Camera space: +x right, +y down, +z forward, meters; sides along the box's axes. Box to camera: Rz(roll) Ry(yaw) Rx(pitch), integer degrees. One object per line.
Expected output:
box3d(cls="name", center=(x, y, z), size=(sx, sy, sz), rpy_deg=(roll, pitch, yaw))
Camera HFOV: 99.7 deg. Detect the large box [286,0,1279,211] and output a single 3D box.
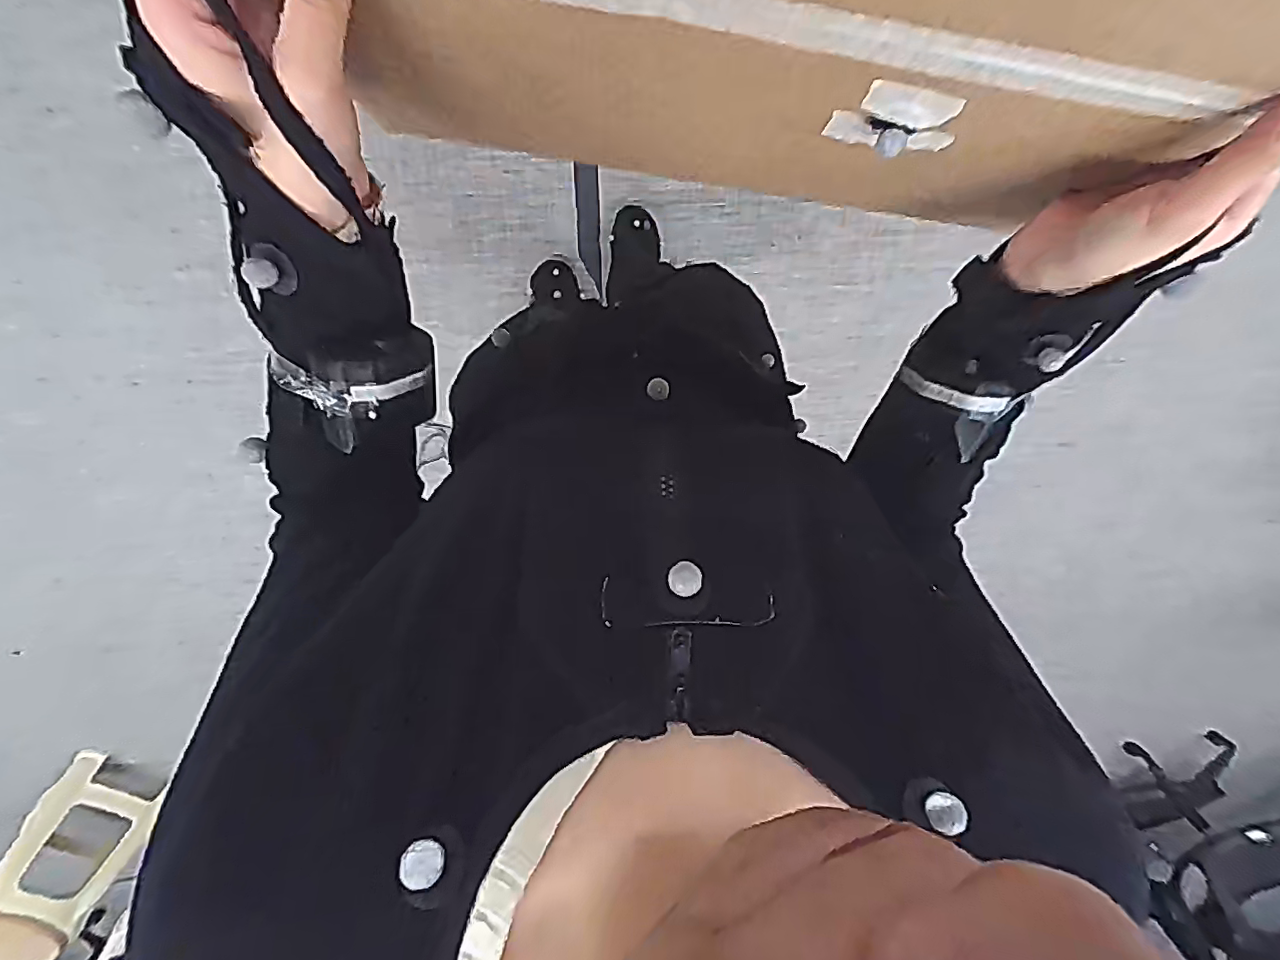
box3d(cls="large box", center=(0.067, -0.323, 0.172), size=(0.408, 0.320, 0.320), rpy_deg=(6, 99, -4))
